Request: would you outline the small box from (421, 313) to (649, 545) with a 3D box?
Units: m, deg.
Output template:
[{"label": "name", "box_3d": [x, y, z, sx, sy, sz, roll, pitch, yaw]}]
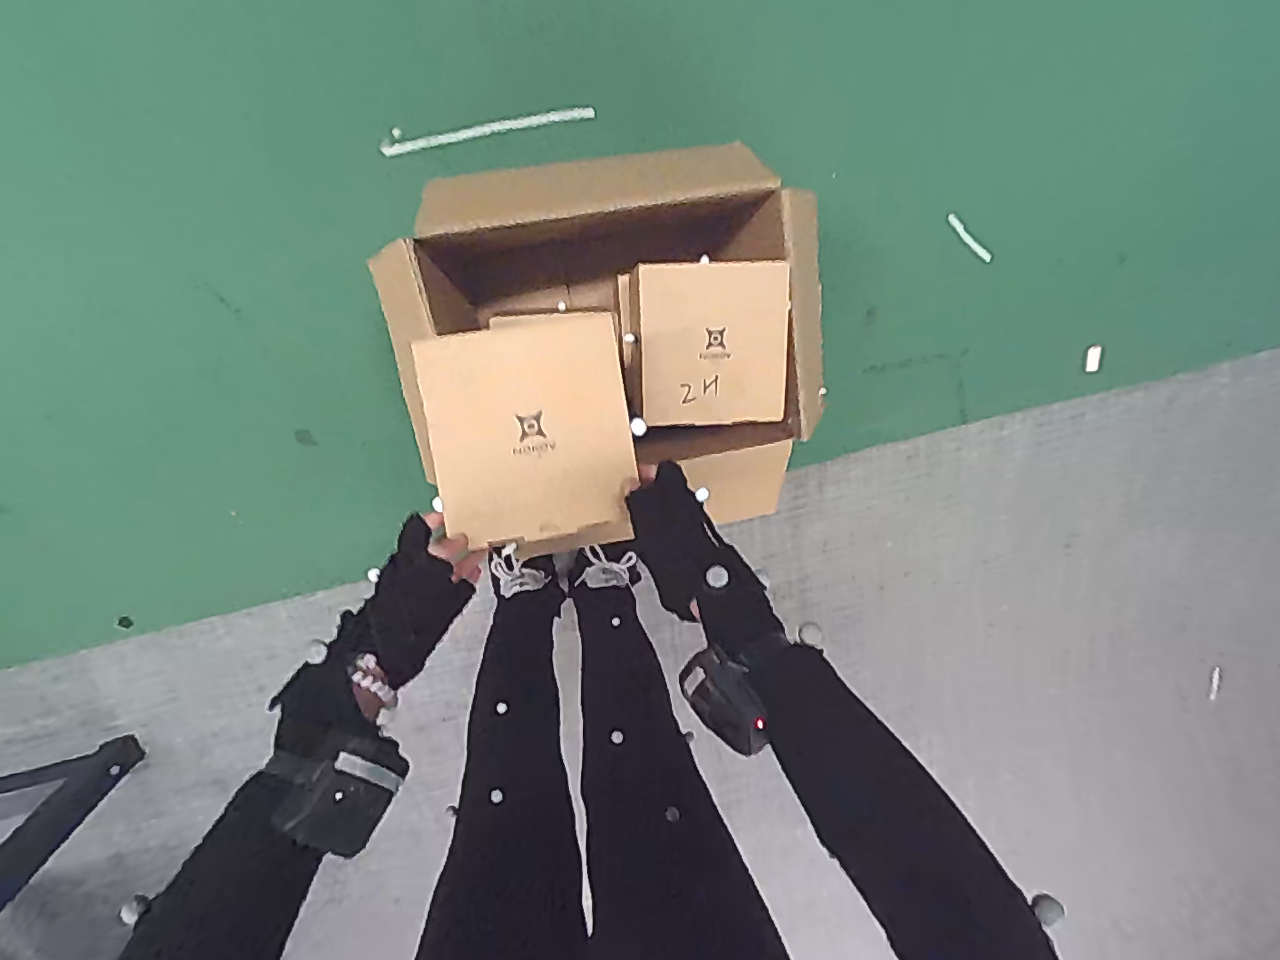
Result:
[{"label": "small box", "box_3d": [-0.095, -0.046, 0.524, 0.168, 0.176, 0.179, -9, 94, -7]}]
